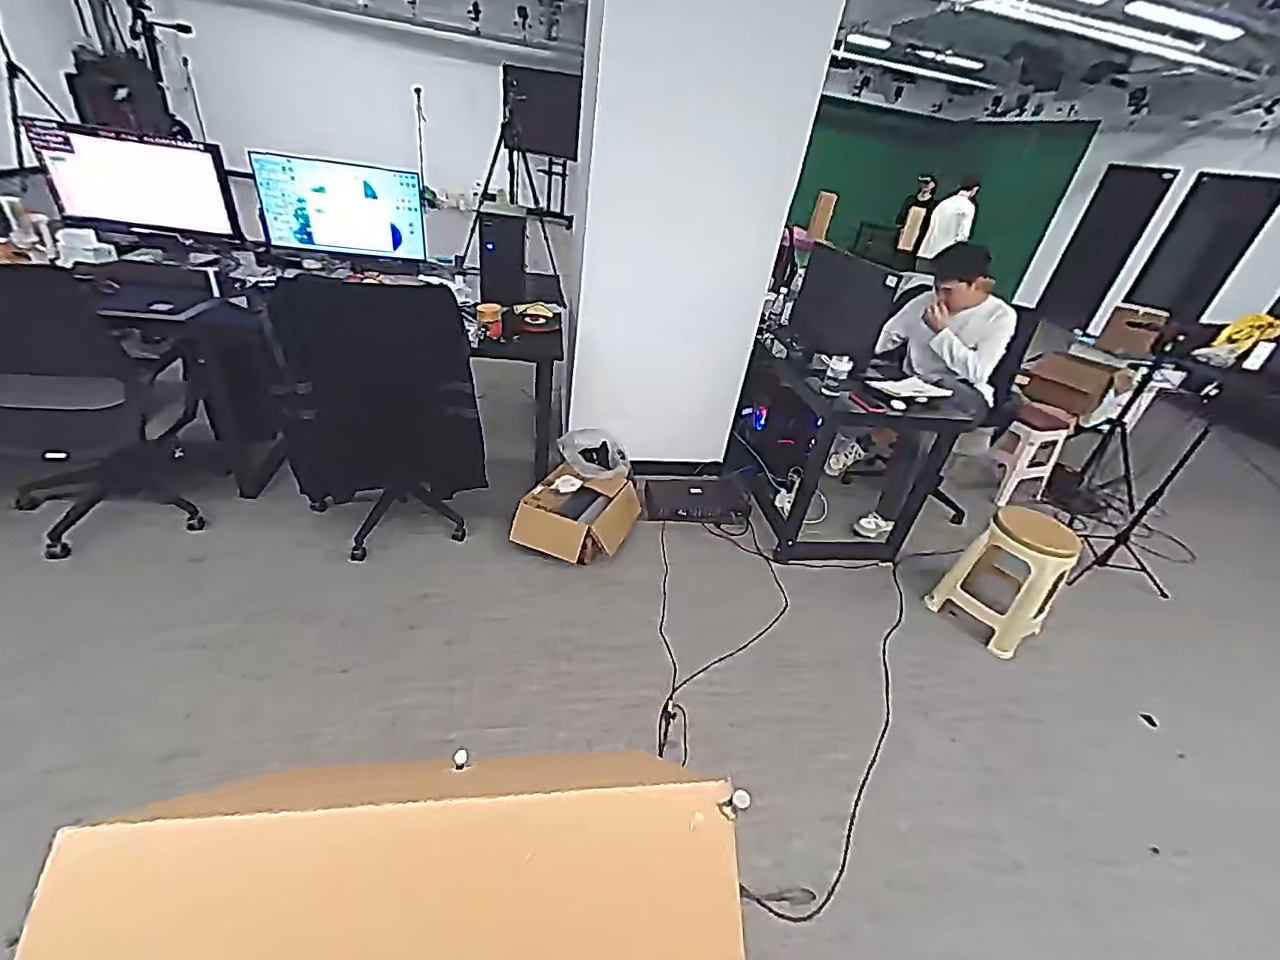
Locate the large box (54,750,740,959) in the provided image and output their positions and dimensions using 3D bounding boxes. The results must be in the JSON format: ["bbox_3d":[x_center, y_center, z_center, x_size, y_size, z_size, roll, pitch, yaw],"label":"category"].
[{"bbox_3d":[-0.157,0.412,0.438,0.408,0.320,0.320,2,69,-12],"label":"large box"}]
